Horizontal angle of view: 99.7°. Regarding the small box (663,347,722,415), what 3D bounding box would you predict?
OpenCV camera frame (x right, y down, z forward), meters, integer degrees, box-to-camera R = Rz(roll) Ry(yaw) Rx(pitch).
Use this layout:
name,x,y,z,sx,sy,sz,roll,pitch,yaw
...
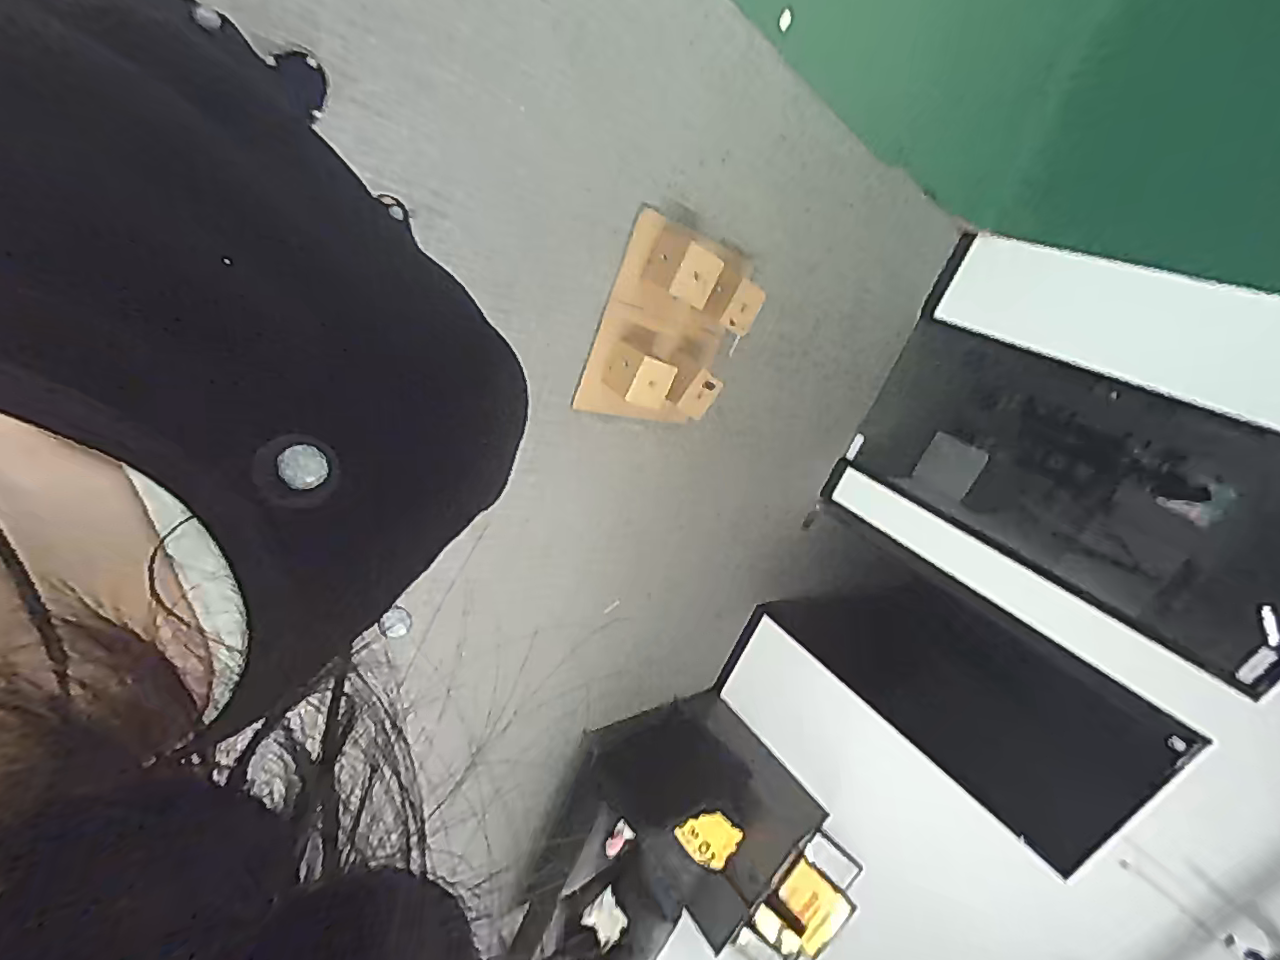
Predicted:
name,x,y,z,sx,sy,sz,roll,pitch,yaw
small box,0.175,-0.386,2.084,0.168,0.176,0.179,24,105,-50

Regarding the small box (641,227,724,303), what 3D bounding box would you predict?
name,x,y,z,sx,sy,sz,roll,pitch,yaw
small box,0.134,-0.711,1.778,0.179,0.176,0.168,8,116,-47

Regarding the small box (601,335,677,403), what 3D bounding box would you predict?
name,x,y,z,sx,sy,sz,roll,pitch,yaw
small box,-0.009,-0.393,1.905,0.179,0.176,0.168,6,117,-47

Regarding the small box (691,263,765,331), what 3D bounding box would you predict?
name,x,y,z,sx,sy,sz,roll,pitch,yaw
small box,0.319,-0.679,1.982,0.168,0.176,0.179,10,114,-47
